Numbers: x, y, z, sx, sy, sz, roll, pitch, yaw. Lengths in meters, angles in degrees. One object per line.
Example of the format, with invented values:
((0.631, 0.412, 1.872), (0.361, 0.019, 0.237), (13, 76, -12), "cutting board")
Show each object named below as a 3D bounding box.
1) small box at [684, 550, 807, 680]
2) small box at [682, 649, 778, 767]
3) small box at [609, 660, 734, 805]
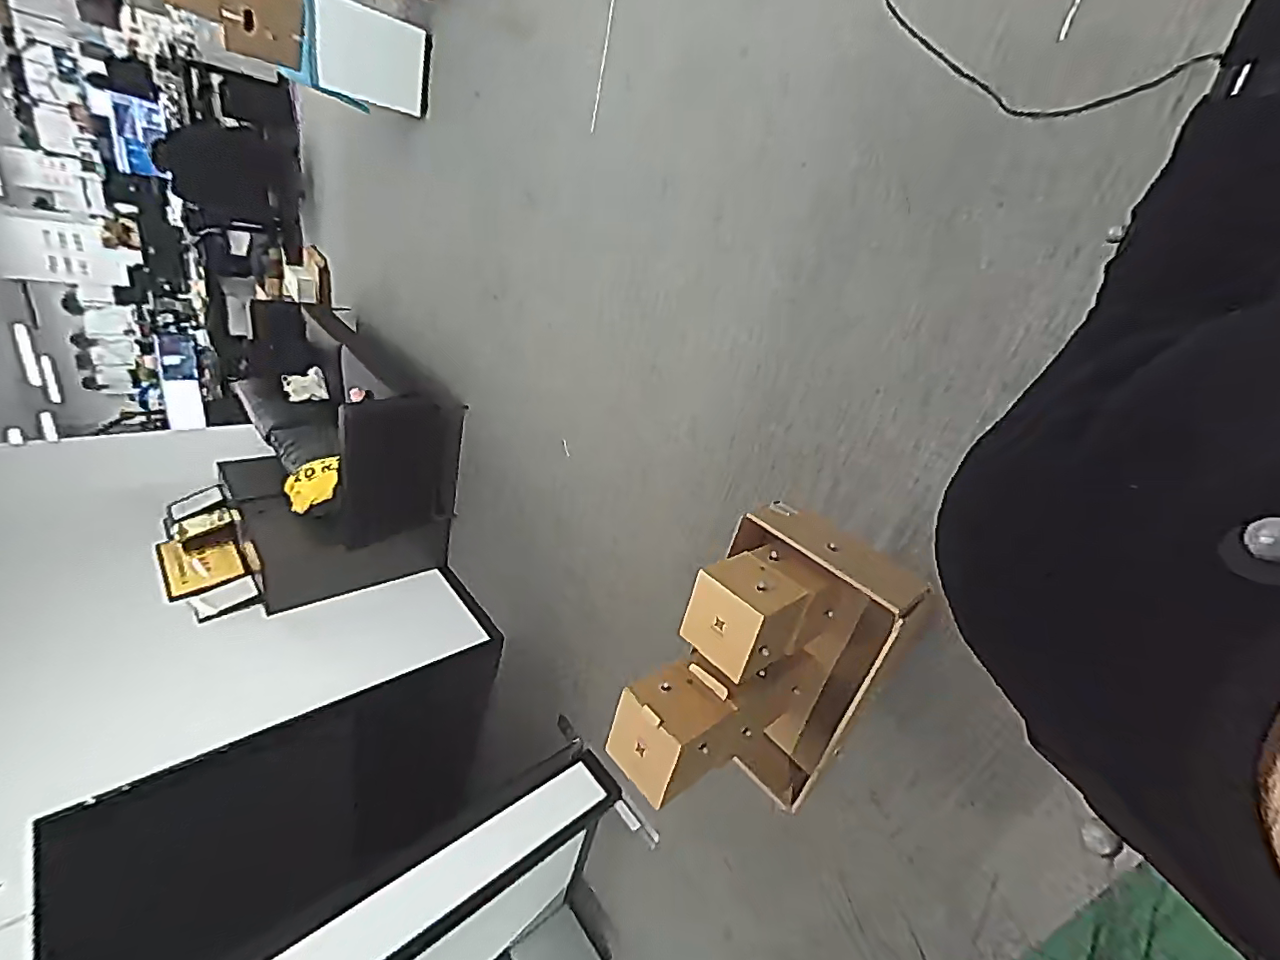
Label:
((0.222, 0.269, 1.127), (0.168, 0.176, 0.179), (34, 122, 37), "small box")
((0.187, 0.487, 1.213), (0.168, 0.176, 0.179), (29, 117, 39), "small box")
((0.067, 0.502, 1.104), (0.168, 0.176, 0.179), (33, 119, 38), "small box")
